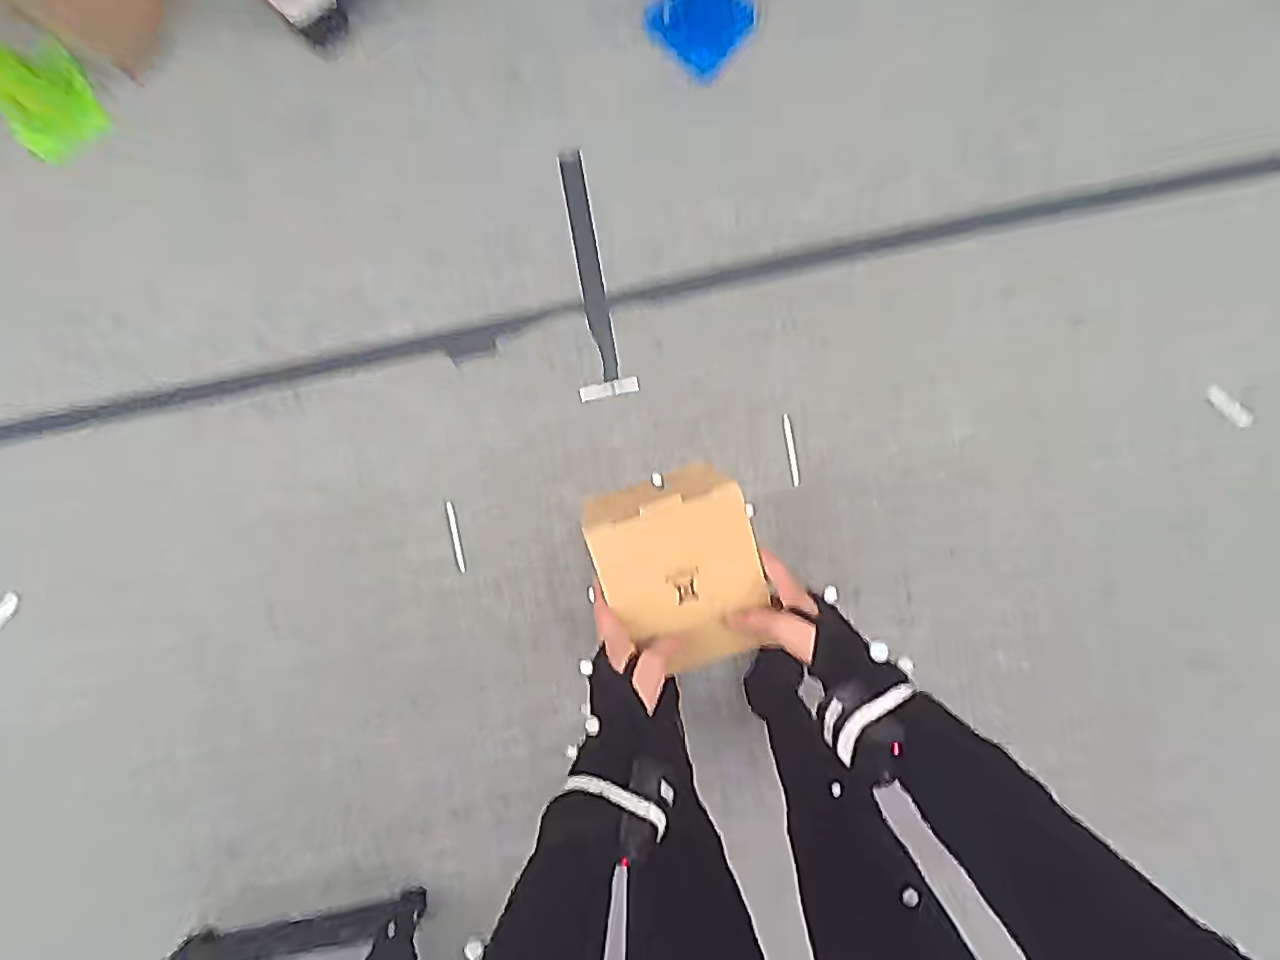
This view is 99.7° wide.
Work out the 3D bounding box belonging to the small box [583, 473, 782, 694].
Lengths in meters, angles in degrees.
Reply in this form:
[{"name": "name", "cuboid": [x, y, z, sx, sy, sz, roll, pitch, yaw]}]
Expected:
[{"name": "small box", "cuboid": [0.040, 0.104, 0.618, 0.168, 0.176, 0.179, -18, 99, -3]}]
